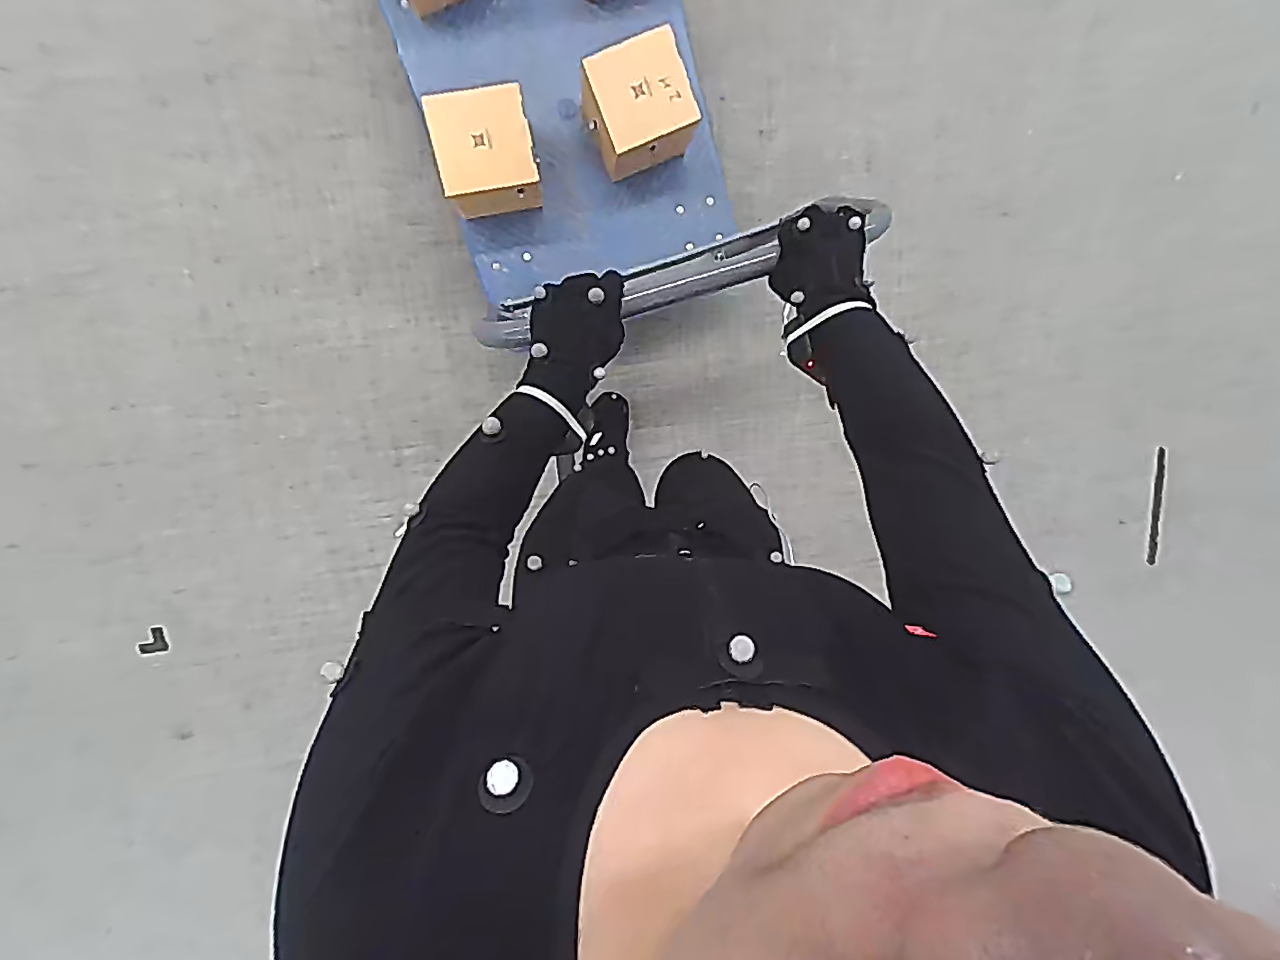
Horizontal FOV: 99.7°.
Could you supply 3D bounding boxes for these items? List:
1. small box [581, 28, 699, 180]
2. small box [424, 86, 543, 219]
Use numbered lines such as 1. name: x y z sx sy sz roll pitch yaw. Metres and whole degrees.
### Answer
1. small box: -0.005 -0.728 1.071 0.179 0.176 0.168 -23 104 -1
2. small box: -0.295 -0.629 1.058 0.179 0.176 0.168 -13 104 -6
